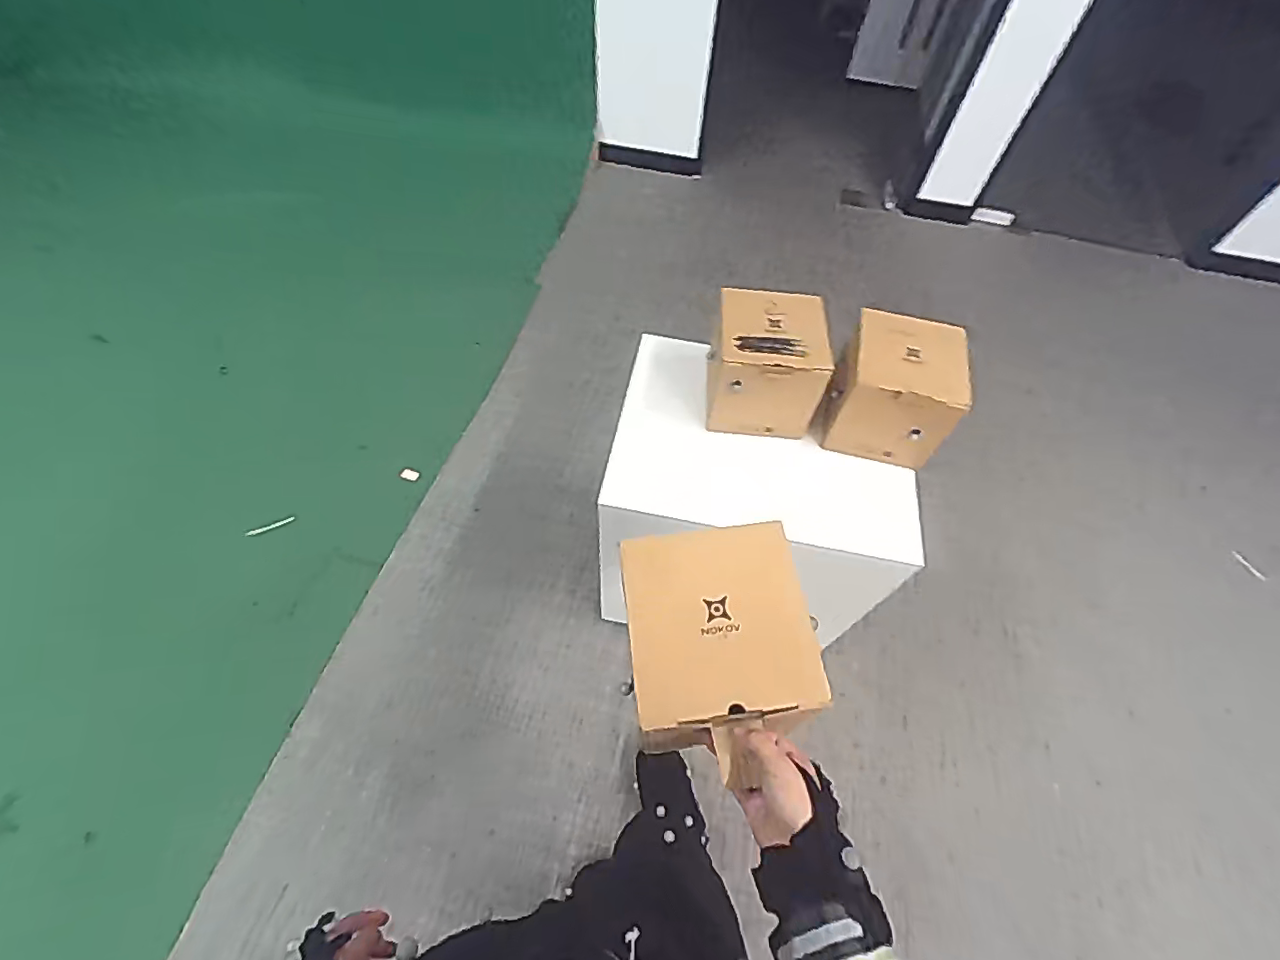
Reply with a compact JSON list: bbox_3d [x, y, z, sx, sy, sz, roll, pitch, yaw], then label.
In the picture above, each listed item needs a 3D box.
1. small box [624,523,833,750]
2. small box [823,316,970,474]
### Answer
[{"bbox_3d":[0.071,0.165,0.560,0.168,0.176,0.179,-6,58,-4],"label":"small box"},{"bbox_3d":[0.413,-0.135,0.895,0.168,0.176,0.179,14,56,5],"label":"small box"}]
